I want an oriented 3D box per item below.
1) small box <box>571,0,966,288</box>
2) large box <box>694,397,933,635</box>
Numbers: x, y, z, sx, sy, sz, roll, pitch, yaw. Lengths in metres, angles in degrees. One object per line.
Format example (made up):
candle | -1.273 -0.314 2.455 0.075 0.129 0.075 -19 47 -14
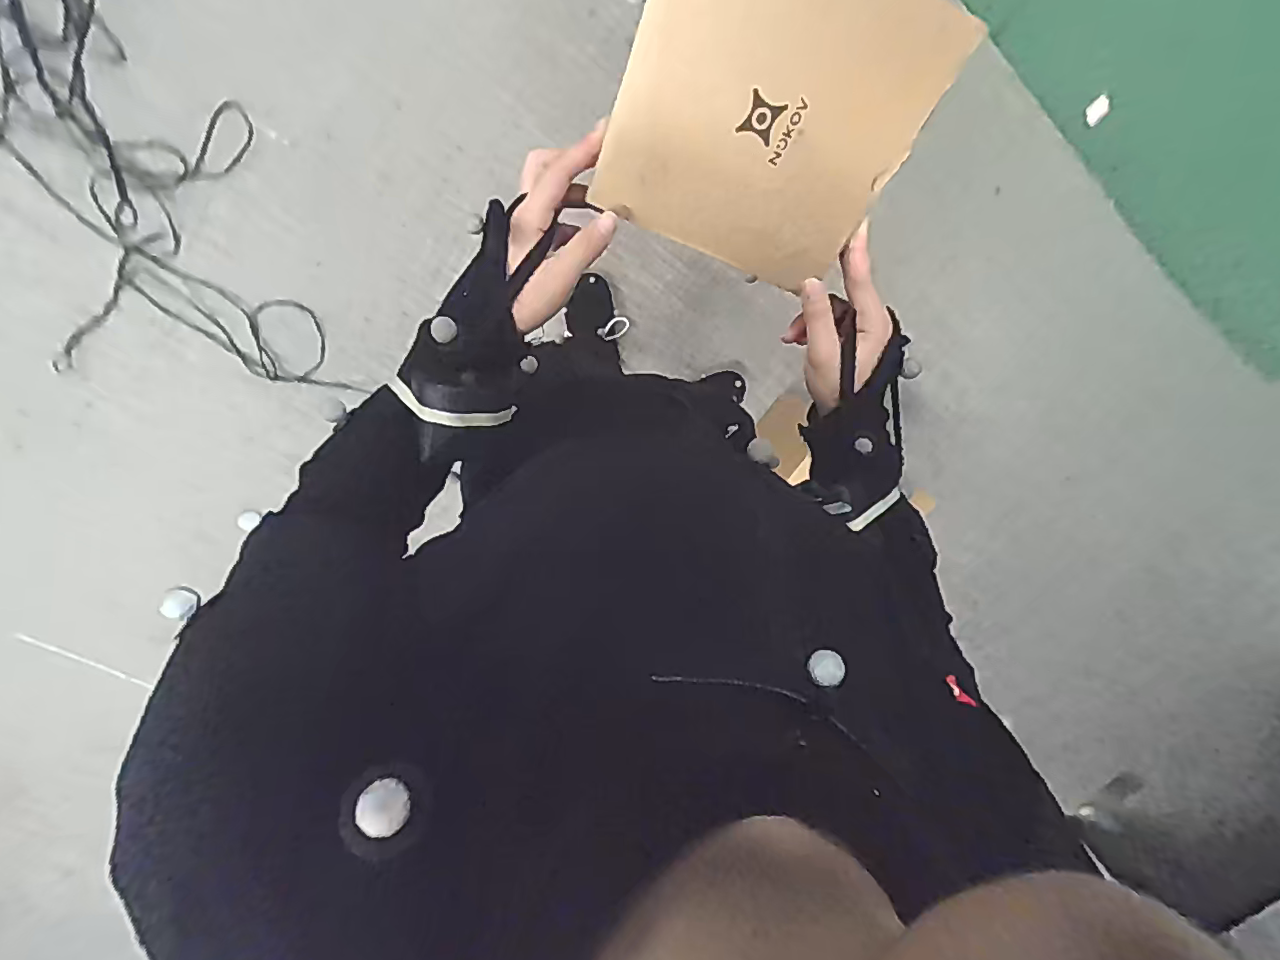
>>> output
small box | 0.065 -0.269 0.374 0.179 0.176 0.168 16 132 -14
large box | 0.382 0.075 1.295 0.320 0.320 0.408 31 108 -14
